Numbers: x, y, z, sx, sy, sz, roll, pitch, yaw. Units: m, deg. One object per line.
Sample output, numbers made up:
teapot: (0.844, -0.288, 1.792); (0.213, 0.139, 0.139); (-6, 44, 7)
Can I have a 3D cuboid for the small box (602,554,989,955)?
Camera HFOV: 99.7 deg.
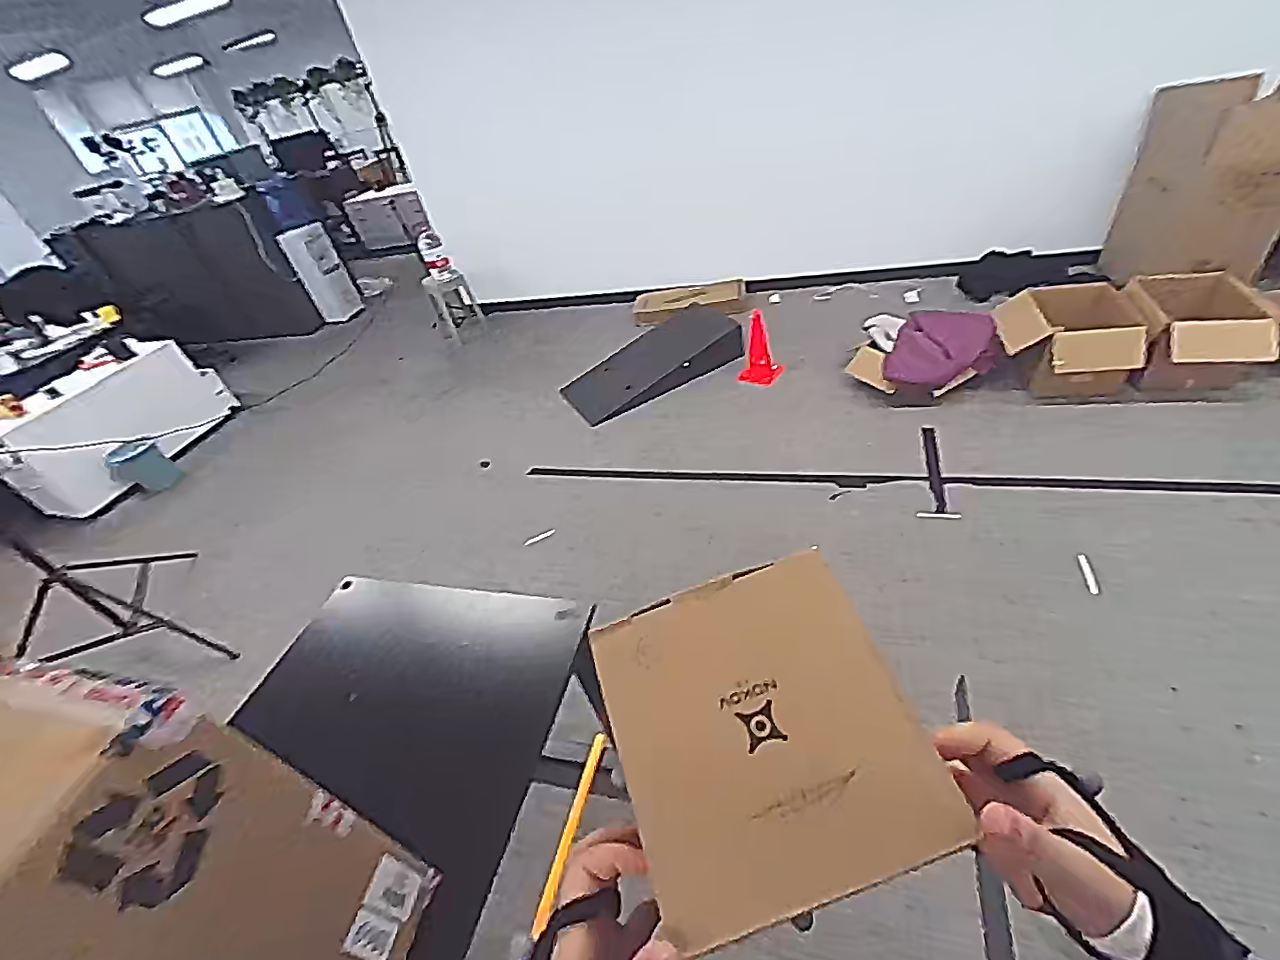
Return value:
small box: (0.085, 0.185, 0.377); (0.168, 0.176, 0.179); (-20, 55, -2)
